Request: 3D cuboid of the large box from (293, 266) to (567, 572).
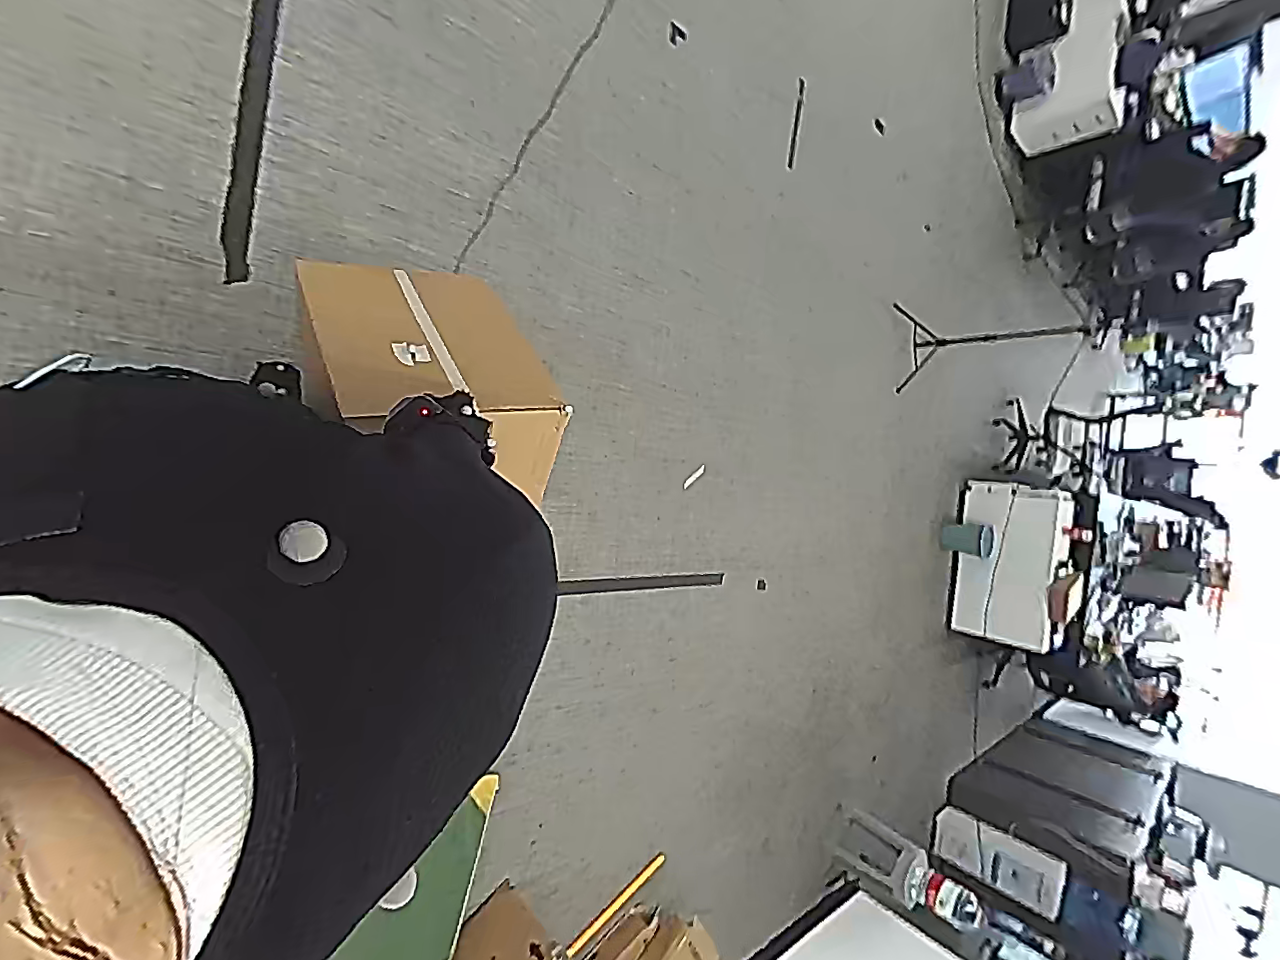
[{"bbox_3d":[-0.386,-0.113,0.938,0.320,0.408,0.320,-9,140,-36],"label":"large box"}]
